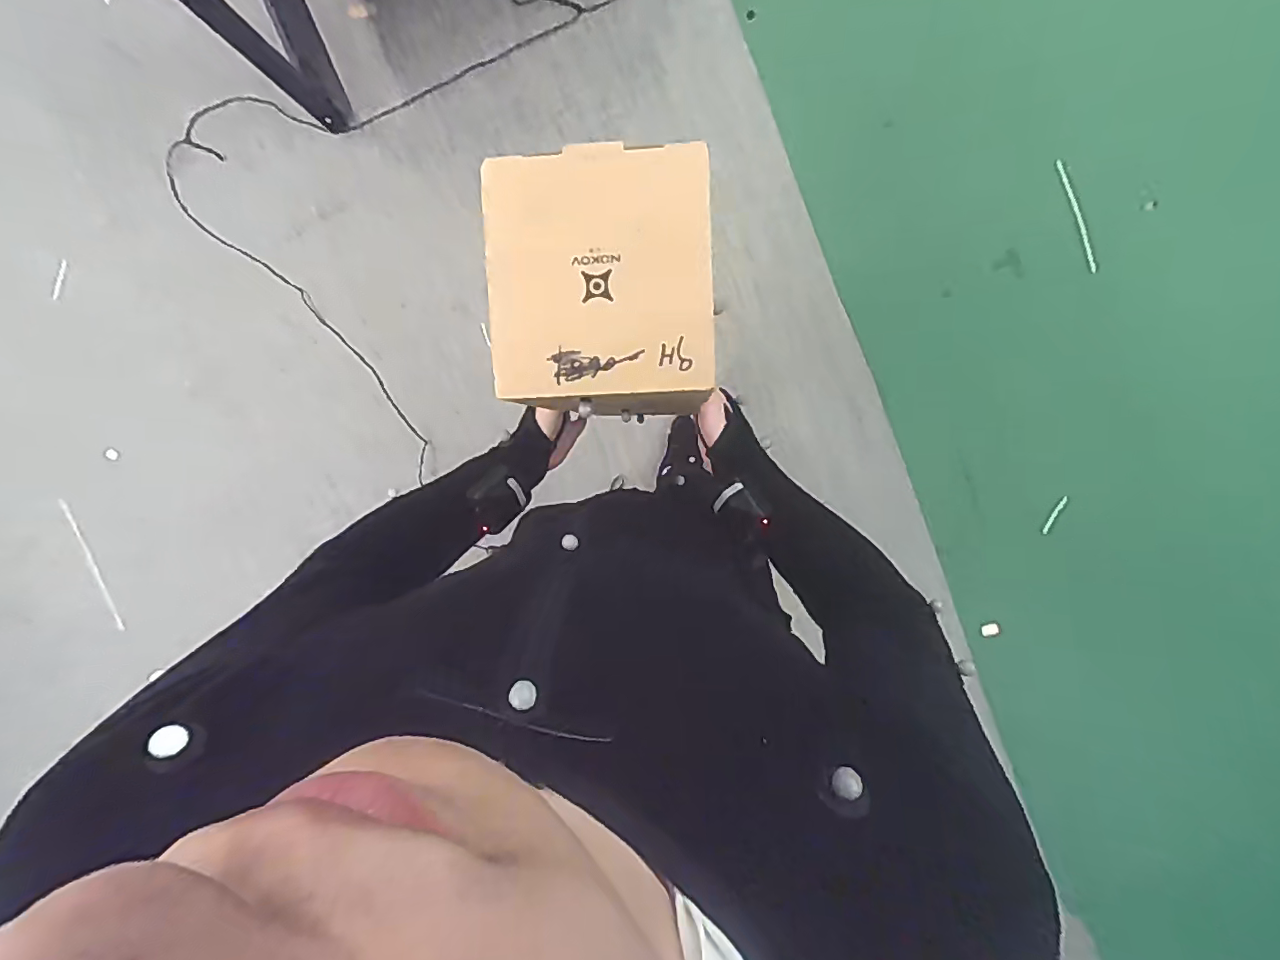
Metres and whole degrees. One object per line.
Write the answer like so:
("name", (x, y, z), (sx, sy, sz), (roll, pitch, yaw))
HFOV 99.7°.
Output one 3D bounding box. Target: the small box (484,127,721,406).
("small box", (-0.022, -0.158, 0.458), (0.168, 0.176, 0.179), (-2, 95, 5))
